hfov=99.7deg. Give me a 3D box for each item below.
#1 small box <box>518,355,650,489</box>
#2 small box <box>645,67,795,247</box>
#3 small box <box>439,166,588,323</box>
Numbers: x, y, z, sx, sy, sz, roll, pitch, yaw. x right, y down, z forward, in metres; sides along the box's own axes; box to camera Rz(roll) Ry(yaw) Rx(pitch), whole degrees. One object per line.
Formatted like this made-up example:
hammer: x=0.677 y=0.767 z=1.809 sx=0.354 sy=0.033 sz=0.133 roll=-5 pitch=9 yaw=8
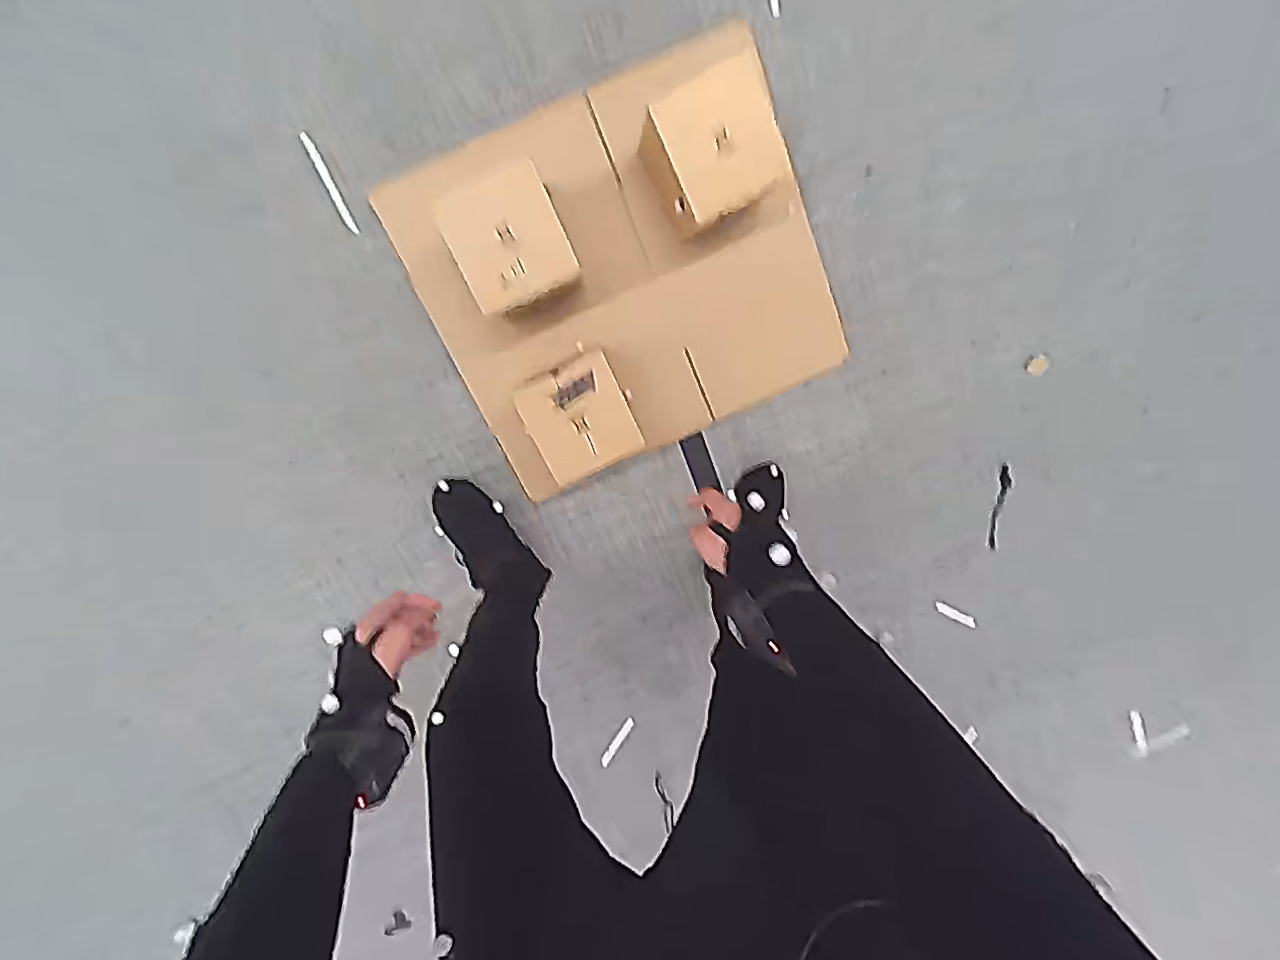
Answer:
small box: x=-0.099 y=-0.113 z=0.965 sx=0.168 sy=0.176 sz=0.179 roll=-25 pitch=108 yaw=2
small box: x=0.120 y=-0.508 z=0.881 sx=0.168 sy=0.176 sz=0.179 roll=-28 pitch=107 yaw=3
small box: x=-0.195 y=-0.369 z=0.883 sx=0.168 sy=0.176 sz=0.179 roll=-24 pitch=107 yaw=2
